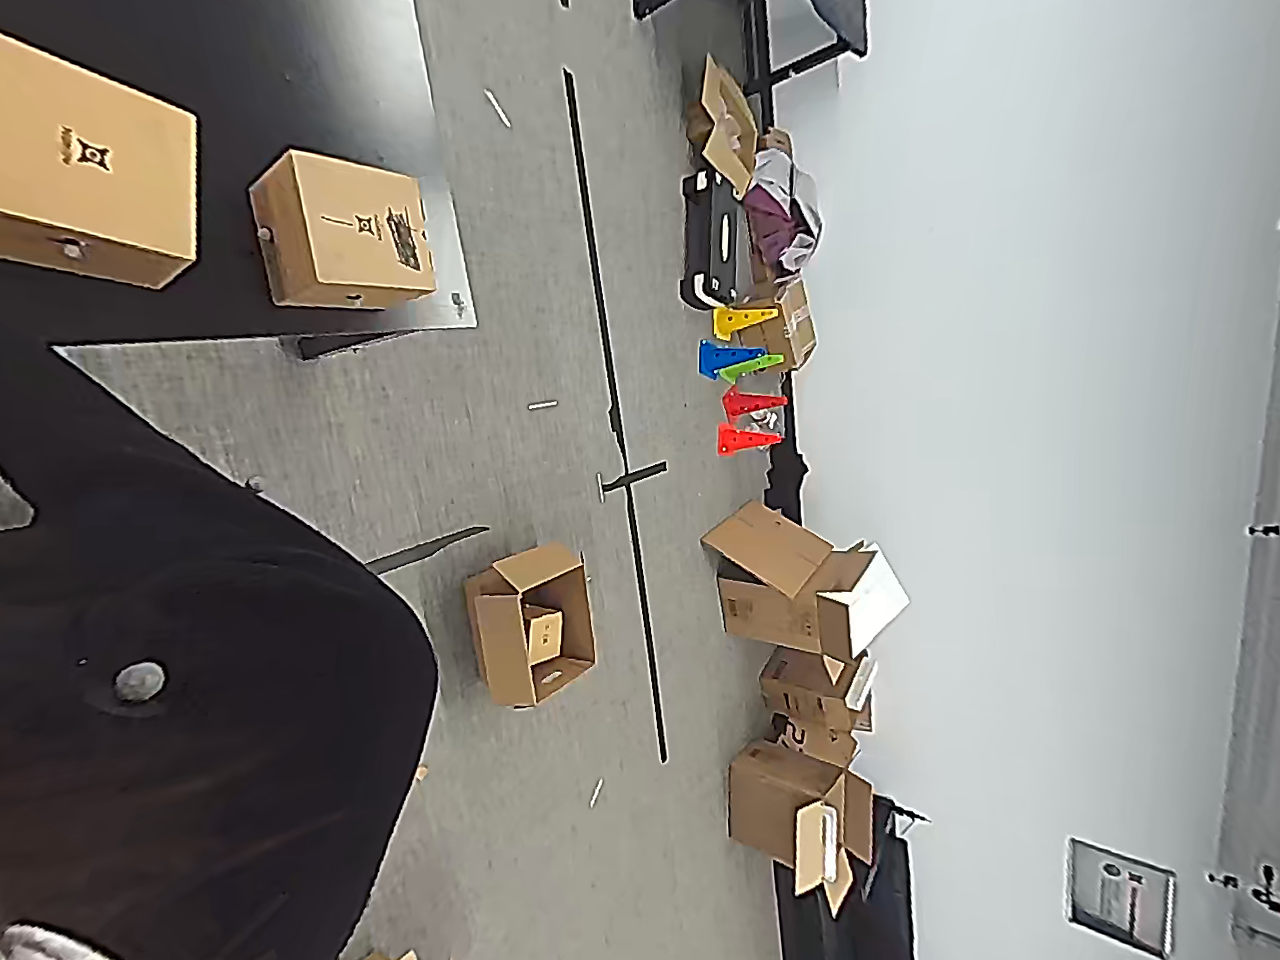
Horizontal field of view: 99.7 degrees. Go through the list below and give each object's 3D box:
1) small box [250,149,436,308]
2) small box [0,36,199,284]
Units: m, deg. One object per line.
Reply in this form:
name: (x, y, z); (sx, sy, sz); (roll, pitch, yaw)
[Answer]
small box: (-0.438, -0.356, 0.805); (0.179, 0.176, 0.168); (-19, 106, -49)
small box: (-0.614, -0.326, 0.588); (0.179, 0.176, 0.168); (-2, 92, -51)
